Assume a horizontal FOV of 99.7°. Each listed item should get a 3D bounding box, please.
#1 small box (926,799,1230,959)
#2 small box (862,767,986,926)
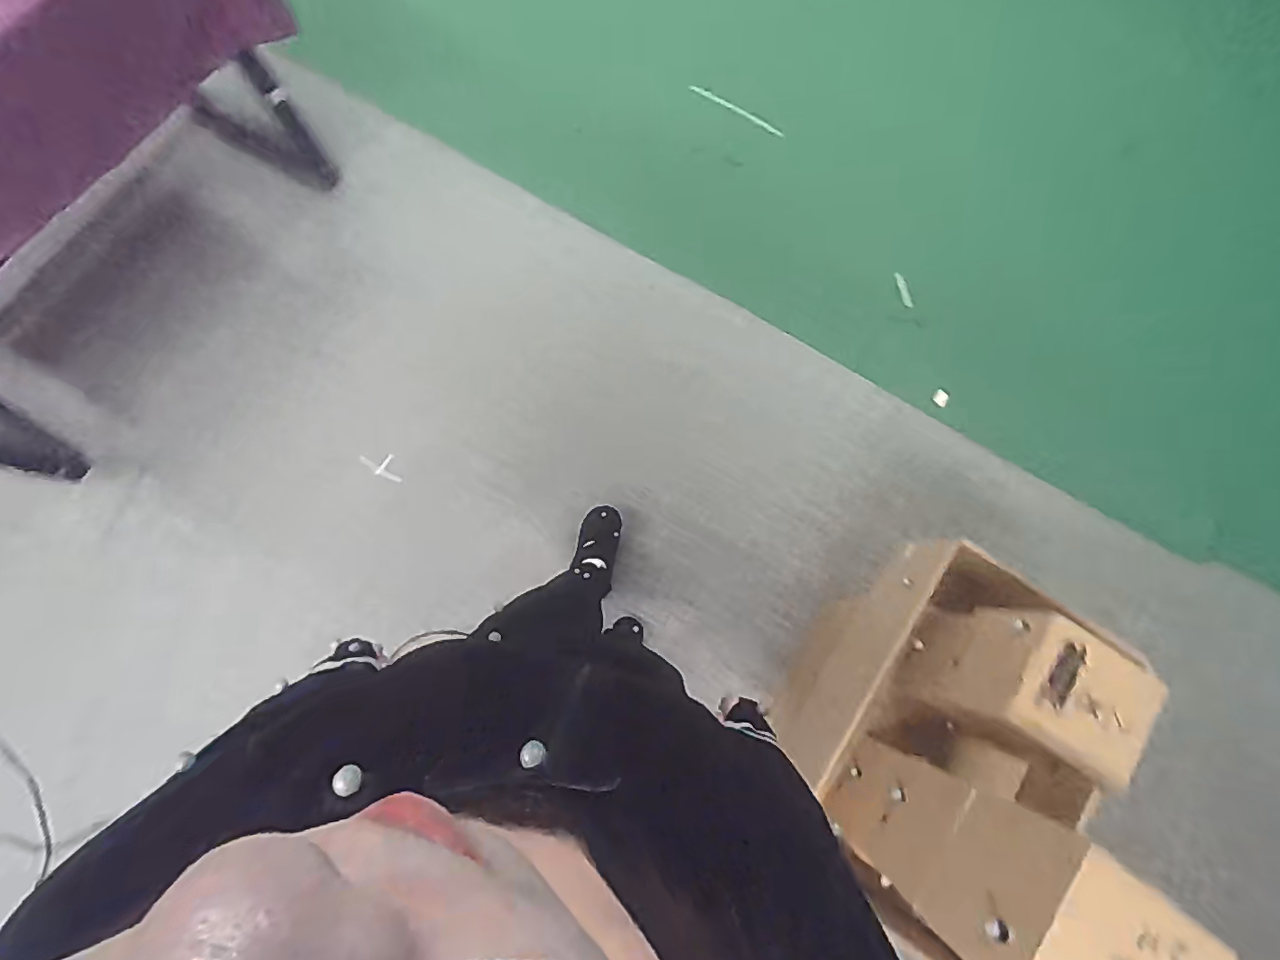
[{"bbox_3d":[0.448,0.494,0.581,0.168,0.176,0.179,39,78,7],"label":"small box"},{"bbox_3d":[0.447,0.532,0.742,0.179,0.176,0.168,37,78,7],"label":"small box"}]
